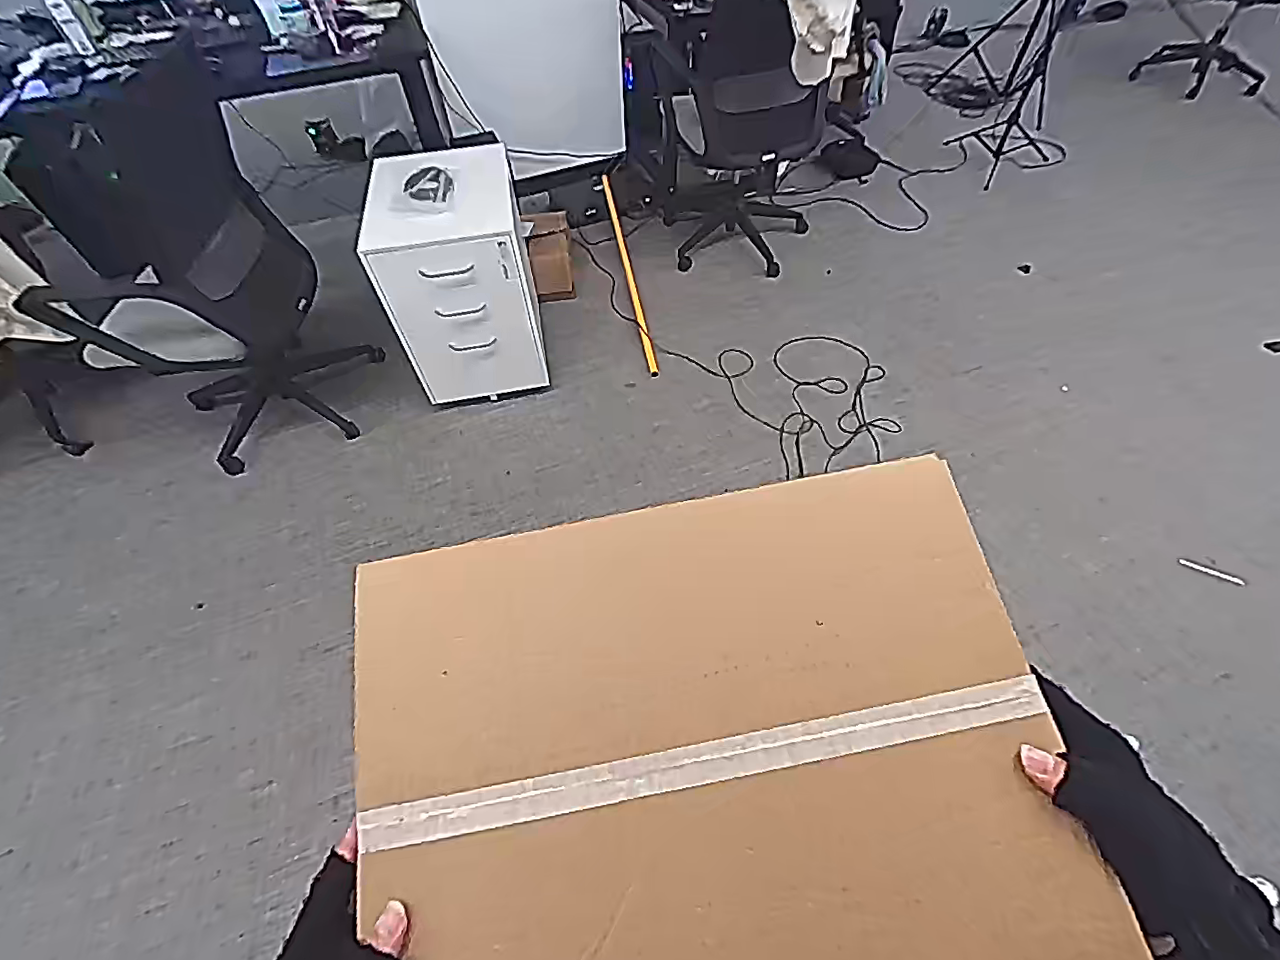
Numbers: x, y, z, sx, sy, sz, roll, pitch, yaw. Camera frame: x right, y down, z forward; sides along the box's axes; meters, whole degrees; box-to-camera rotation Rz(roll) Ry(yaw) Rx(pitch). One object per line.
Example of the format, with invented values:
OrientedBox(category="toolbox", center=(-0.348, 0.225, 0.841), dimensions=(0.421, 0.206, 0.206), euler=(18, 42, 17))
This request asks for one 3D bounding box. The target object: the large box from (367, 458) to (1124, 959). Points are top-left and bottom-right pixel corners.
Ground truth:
OrientedBox(category="large box", center=(0.043, 0.210, 0.466), dimensions=(0.408, 0.320, 0.320), euler=(-11, 70, -1))
